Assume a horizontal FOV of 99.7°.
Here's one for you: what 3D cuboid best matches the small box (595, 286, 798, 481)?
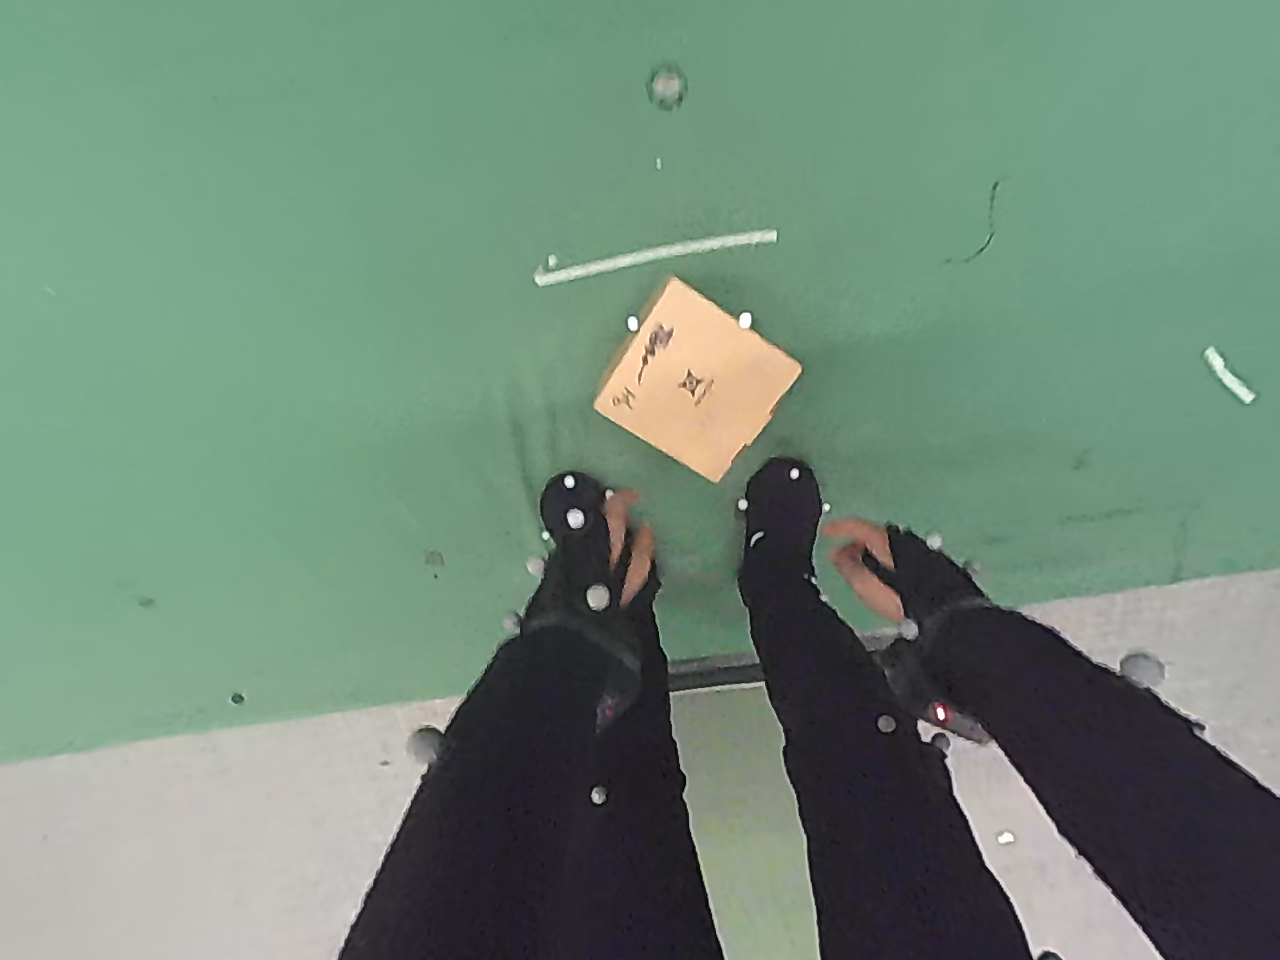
[{"bbox_3d":[0.063,-0.132,0.686,0.179,0.176,0.168,31,108,-12],"label":"small box"}]
